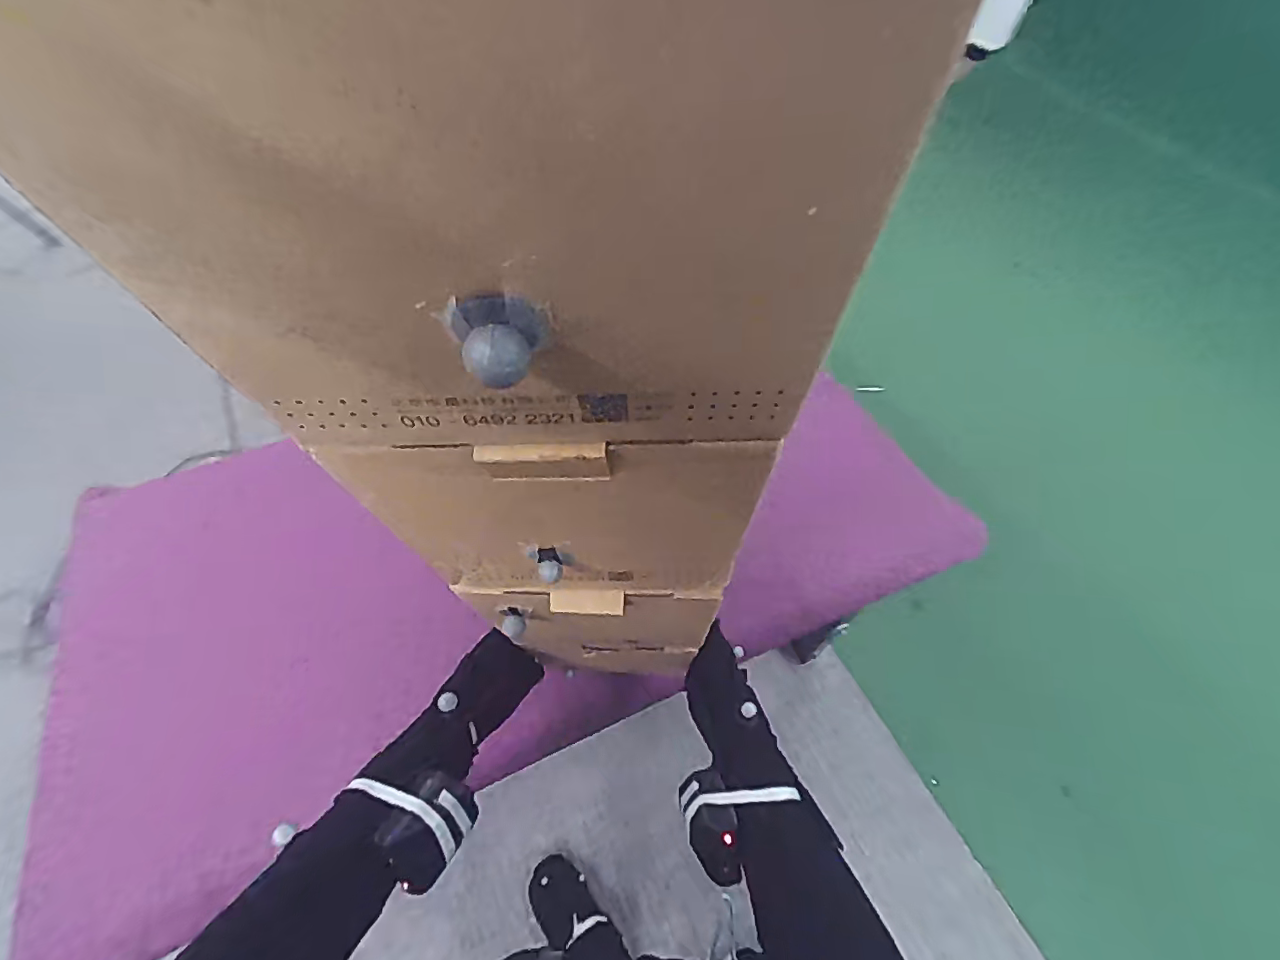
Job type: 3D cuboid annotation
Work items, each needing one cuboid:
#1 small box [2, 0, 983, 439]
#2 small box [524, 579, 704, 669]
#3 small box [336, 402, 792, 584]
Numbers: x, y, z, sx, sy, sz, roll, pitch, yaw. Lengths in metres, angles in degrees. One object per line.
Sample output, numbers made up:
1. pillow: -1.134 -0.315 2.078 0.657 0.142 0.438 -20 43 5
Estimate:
1. small box: -0.029 -0.130 0.154 0.168 0.176 0.179 -1 63 1
2. small box: -0.016 0.102 0.588 0.168 0.176 0.179 3 63 2
3. small box: -0.026 -0.052 0.300 0.168 0.176 0.179 0 63 1
